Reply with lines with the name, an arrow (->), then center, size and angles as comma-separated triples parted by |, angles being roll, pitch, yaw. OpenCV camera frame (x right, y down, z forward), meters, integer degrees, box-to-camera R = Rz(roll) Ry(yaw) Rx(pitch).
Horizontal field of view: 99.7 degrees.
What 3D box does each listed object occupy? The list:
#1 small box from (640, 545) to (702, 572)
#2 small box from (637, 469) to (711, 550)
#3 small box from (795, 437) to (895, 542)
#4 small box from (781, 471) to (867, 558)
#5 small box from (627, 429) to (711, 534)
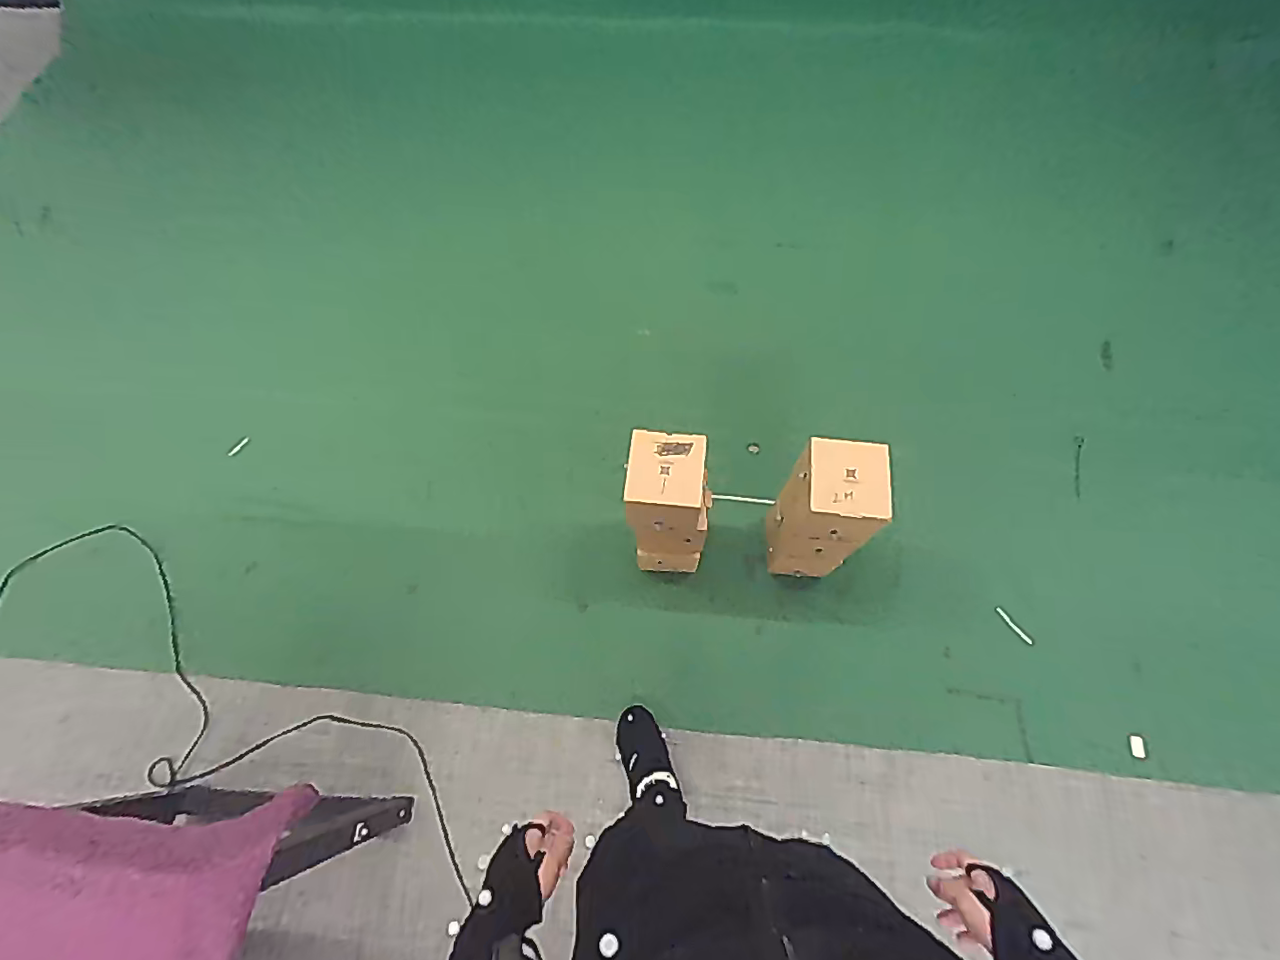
small box -> 0.090, 0.155, 1.517 | 0.168, 0.176, 0.179 | 2, 66, 3
small box -> 0.086, 0.076, 1.375 | 0.179, 0.176, 0.168 | 2, 66, 3
small box -> 0.448, 0.025, 1.204 | 0.168, 0.176, 0.179 | 6, 68, 4
small box -> 0.455, 0.091, 1.355 | 0.168, 0.176, 0.179 | 6, 69, 3
small box -> 0.065, 0.007, 1.227 | 0.168, 0.176, 0.179 | 5, 66, 4
